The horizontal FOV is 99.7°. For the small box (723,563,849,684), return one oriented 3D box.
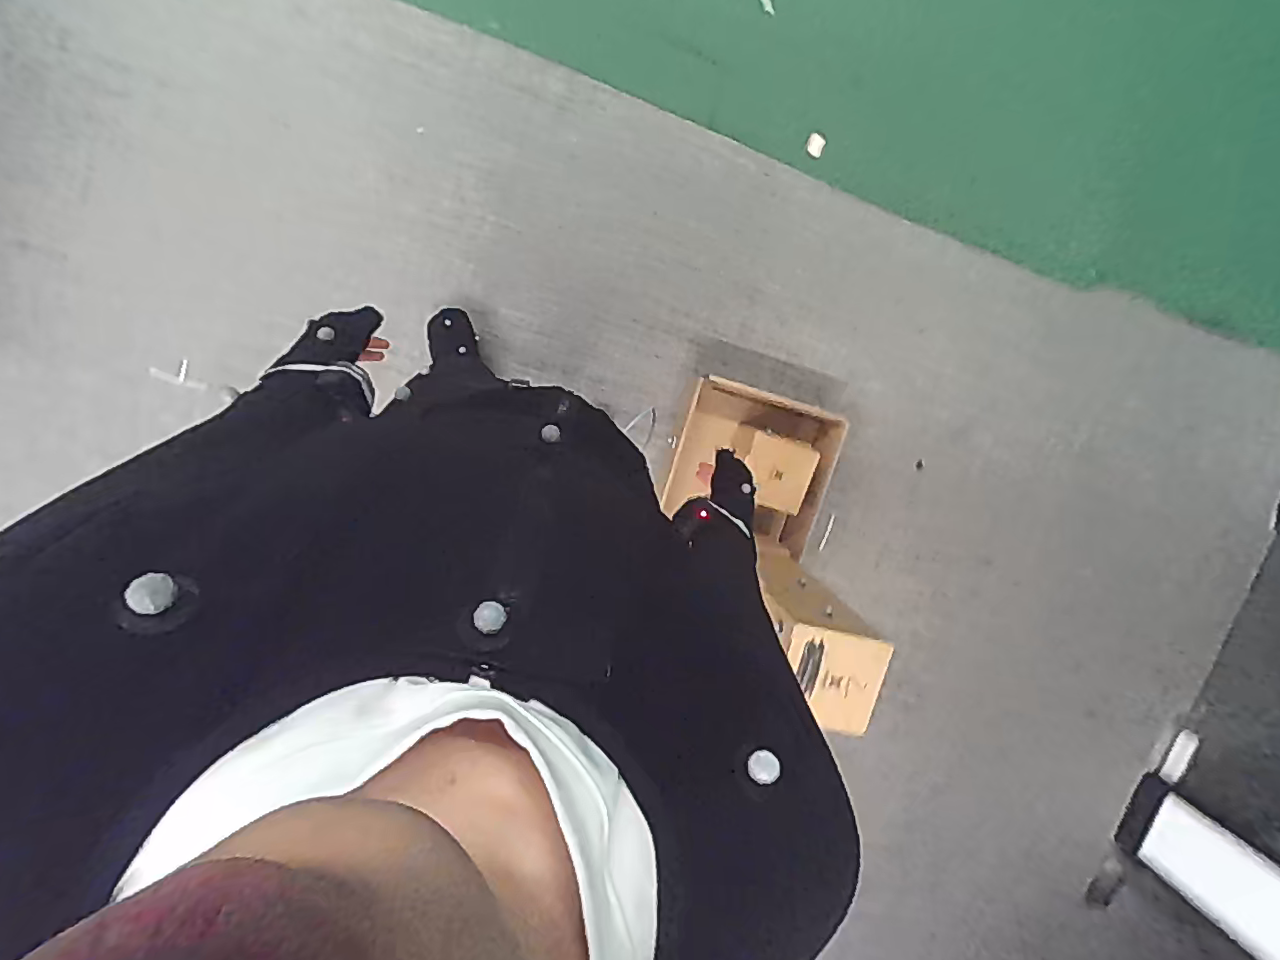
[{"bbox_3d":[0.288,0.285,1.113,0.179,0.176,0.168,17,98,-9],"label":"small box"}]

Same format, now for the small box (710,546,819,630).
[{"bbox_3d":[0.278,0.264,1.258,0.179,0.176,0.168,16,97,-9],"label":"small box"}]

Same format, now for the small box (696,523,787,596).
[{"bbox_3d":[0.261,0.220,1.434,0.179,0.176,0.168,12,97,-9],"label":"small box"}]
